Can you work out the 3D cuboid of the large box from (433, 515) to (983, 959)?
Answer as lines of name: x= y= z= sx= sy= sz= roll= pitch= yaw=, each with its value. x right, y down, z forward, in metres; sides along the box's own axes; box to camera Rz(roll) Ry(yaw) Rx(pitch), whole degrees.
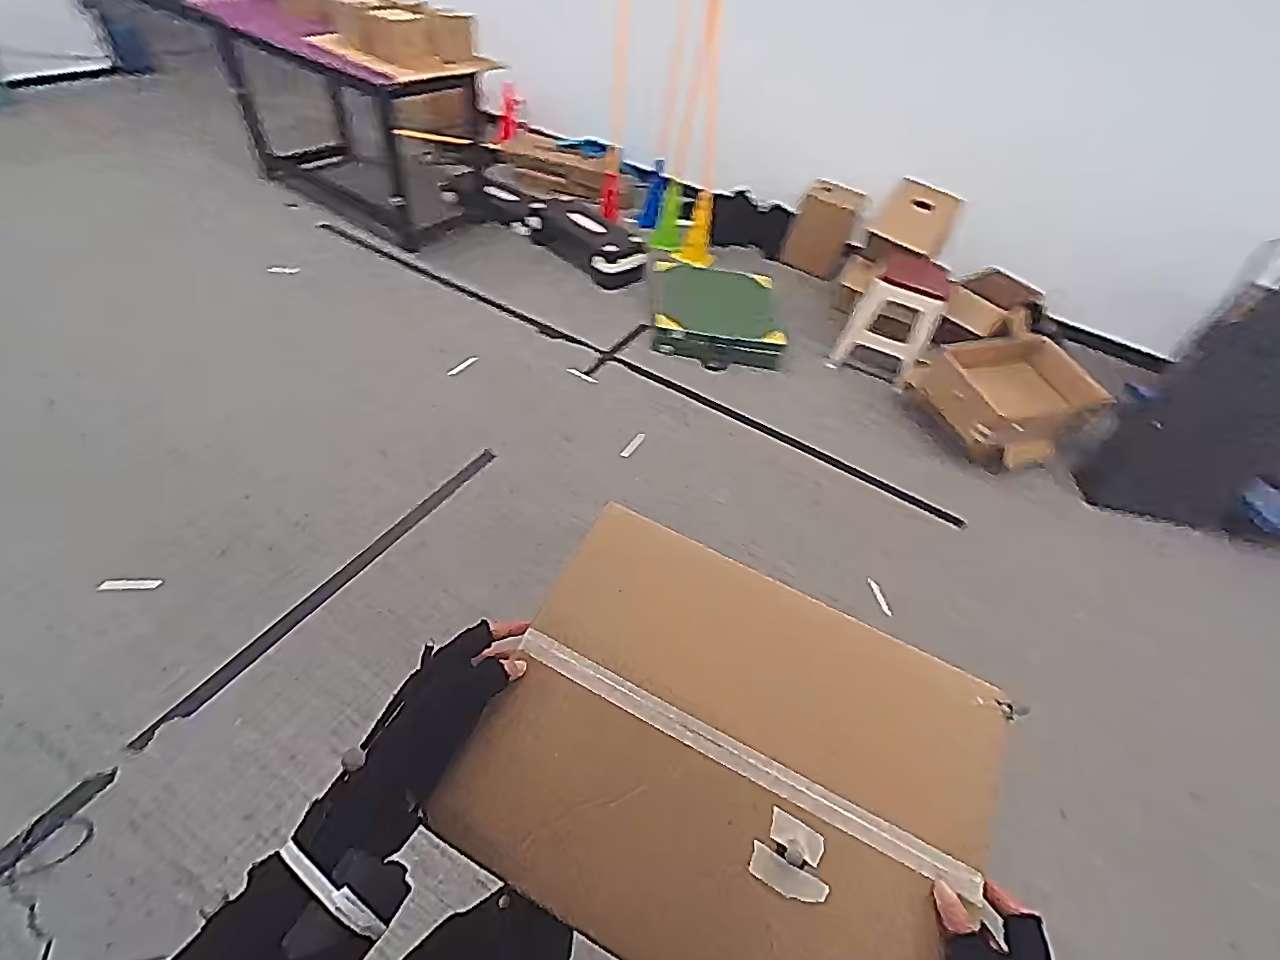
large box: x=0.066 y=0.302 z=0.596 sx=0.408 sy=0.320 sz=0.320 roll=25 pitch=64 yaw=10
